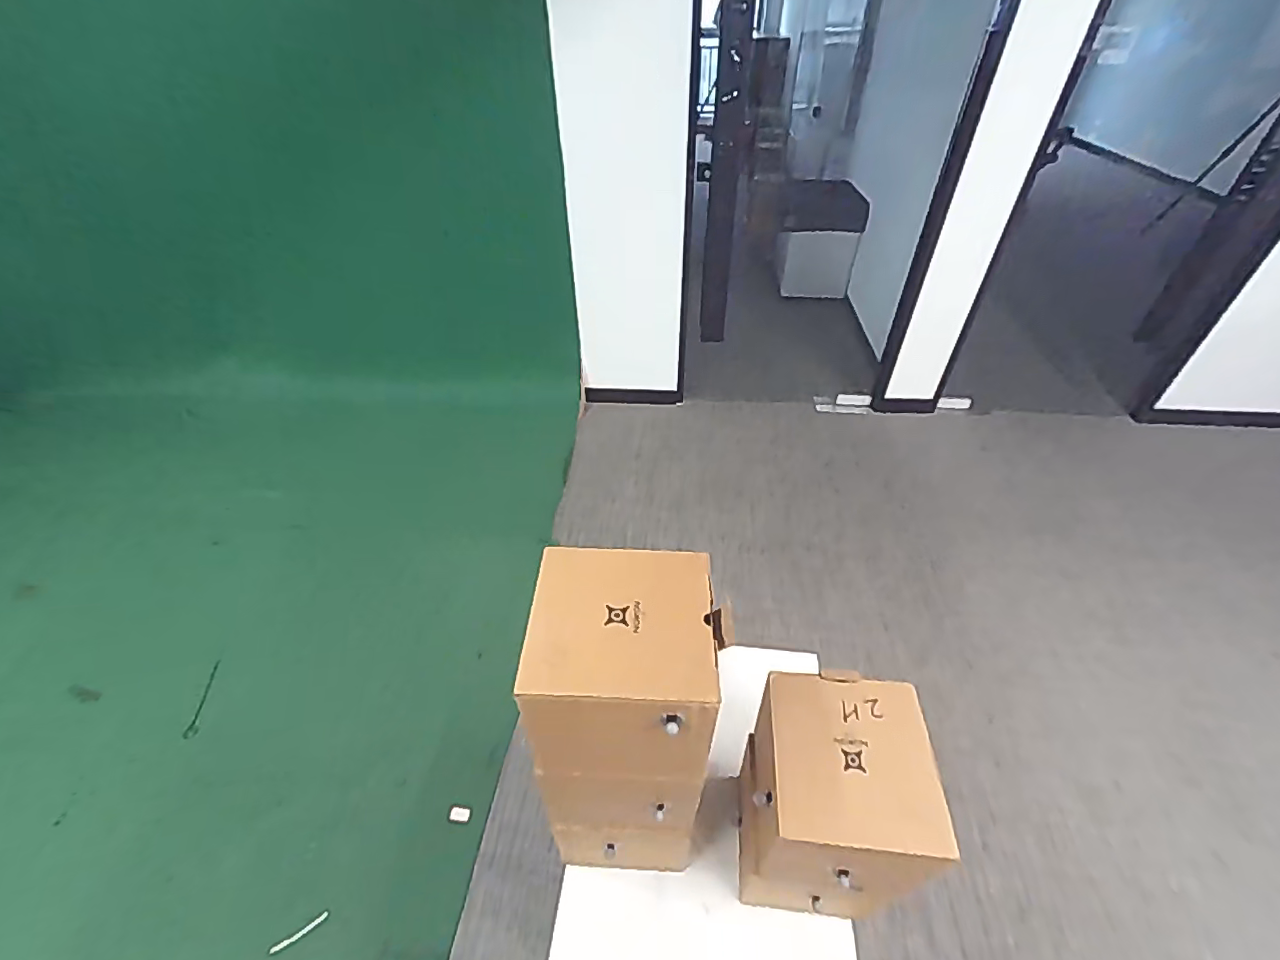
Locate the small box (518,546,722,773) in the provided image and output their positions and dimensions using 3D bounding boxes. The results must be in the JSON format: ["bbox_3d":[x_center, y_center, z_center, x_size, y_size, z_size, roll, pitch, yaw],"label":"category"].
[{"bbox_3d":[-0.016,0.187,0.564,0.179,0.176,0.168,2,42,0],"label":"small box"}]

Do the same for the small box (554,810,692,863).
[{"bbox_3d":[-0.018,0.433,0.780,0.179,0.176,0.168,3,43,1],"label":"small box"}]

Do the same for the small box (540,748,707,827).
[{"bbox_3d":[-0.017,0.311,0.671,0.179,0.176,0.168,1,41,1],"label":"small box"}]

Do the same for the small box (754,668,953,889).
[{"bbox_3d":[0.226,0.346,0.627,0.168,0.176,0.179,4,43,6],"label":"small box"}]
